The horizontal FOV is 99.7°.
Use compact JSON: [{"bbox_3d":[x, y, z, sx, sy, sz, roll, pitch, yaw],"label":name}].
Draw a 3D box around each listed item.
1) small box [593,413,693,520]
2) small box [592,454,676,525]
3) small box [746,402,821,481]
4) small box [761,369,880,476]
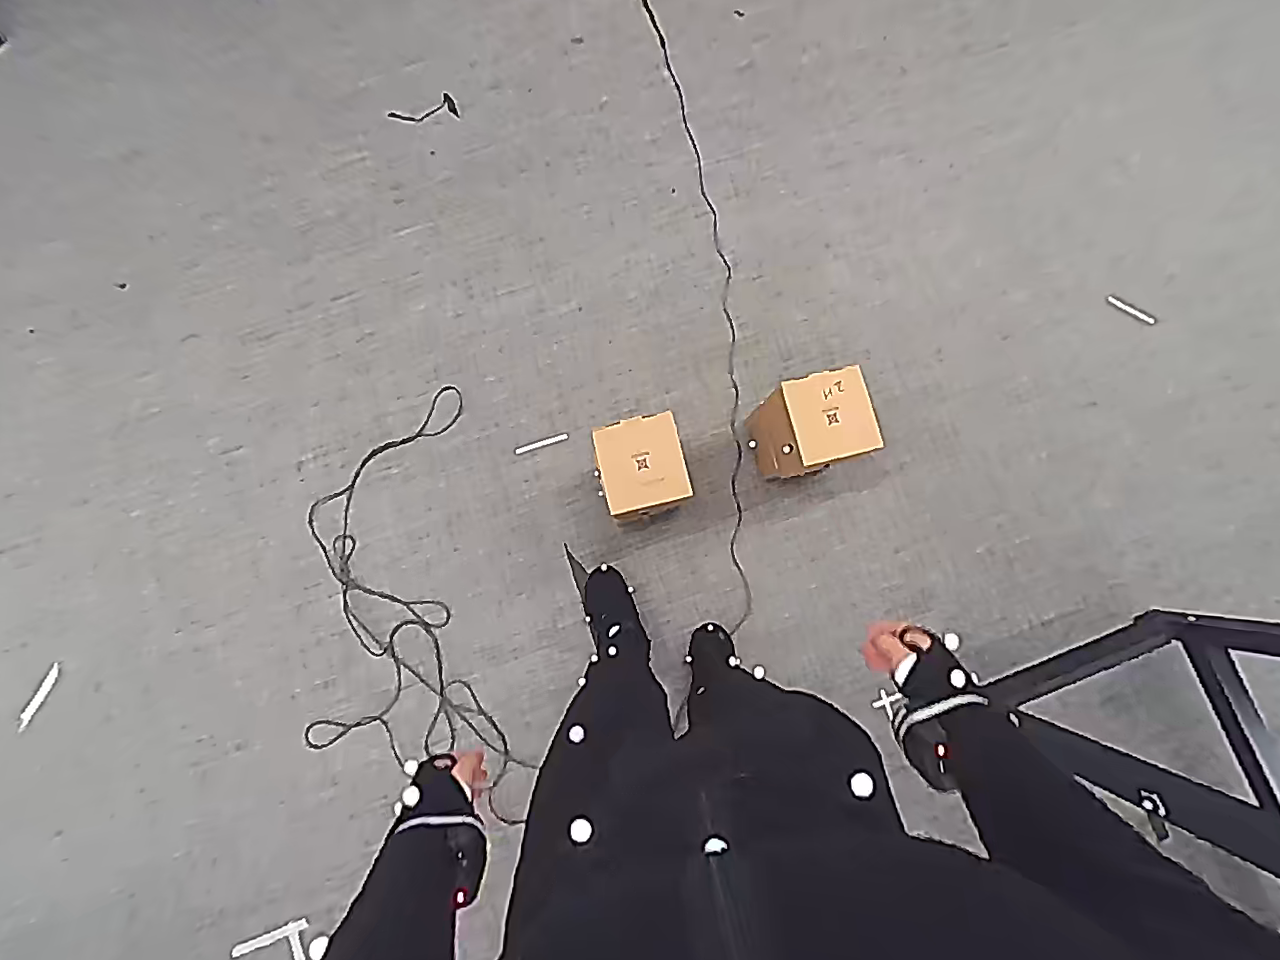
[{"bbox_3d":[0.004,-0.021,1.130,0.168,0.176,0.179,-14,84,-2],"label":"small box"},{"bbox_3d":[-0.001,0.005,1.292,0.179,0.176,0.168,-18,83,-2],"label":"small box"},{"bbox_3d":[0.372,-0.100,1.309,0.179,0.176,0.168,-11,82,-2],"label":"small box"},{"bbox_3d":[0.372,-0.112,1.144,0.168,0.176,0.179,-13,82,-4],"label":"small box"}]
